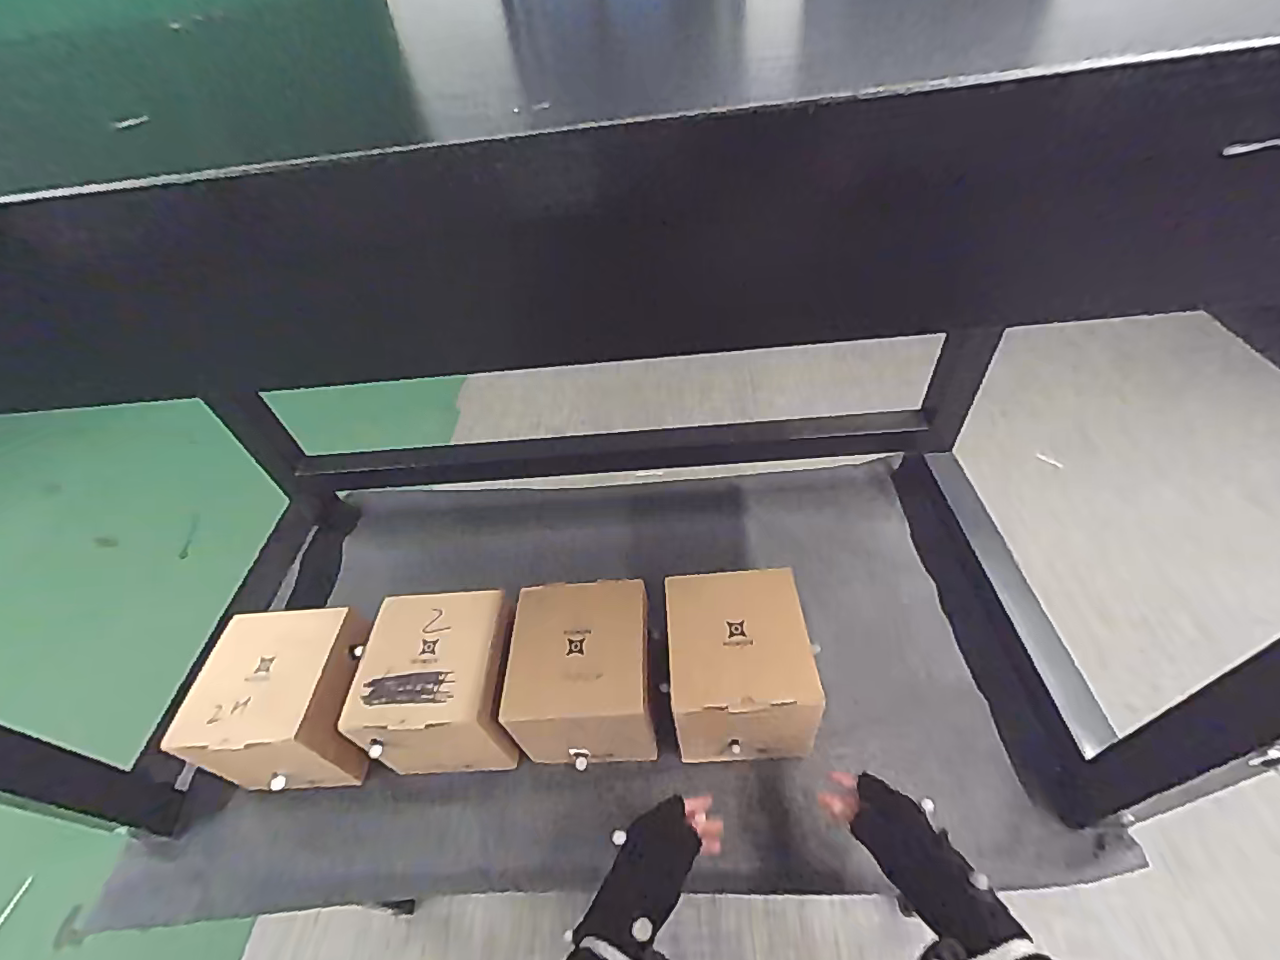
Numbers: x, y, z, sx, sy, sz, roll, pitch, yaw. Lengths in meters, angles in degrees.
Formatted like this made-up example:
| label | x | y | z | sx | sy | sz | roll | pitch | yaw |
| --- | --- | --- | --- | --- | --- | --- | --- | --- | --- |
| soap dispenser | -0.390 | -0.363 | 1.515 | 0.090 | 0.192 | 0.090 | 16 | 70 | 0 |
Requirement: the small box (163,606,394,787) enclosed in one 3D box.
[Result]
| label | x | y | z | sx | sy | sz | roll | pitch | yaw |
| --- | --- | --- | --- | --- | --- | --- | --- | --- | --- |
| small box | -0.458 | 0.291 | 0.727 | 0.168 | 0.176 | 0.179 | -5 | 46 | 4 |

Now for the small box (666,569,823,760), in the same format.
| label | x | y | z | sx | sy | sz | roll | pitch | yaw |
| --- | --- | --- | --- | --- | --- | --- | --- | --- | --- |
| small box | 0.123 | 0.238 | 0.697 | 0.168 | 0.176 | 0.179 | -6 | 46 | 4 |
